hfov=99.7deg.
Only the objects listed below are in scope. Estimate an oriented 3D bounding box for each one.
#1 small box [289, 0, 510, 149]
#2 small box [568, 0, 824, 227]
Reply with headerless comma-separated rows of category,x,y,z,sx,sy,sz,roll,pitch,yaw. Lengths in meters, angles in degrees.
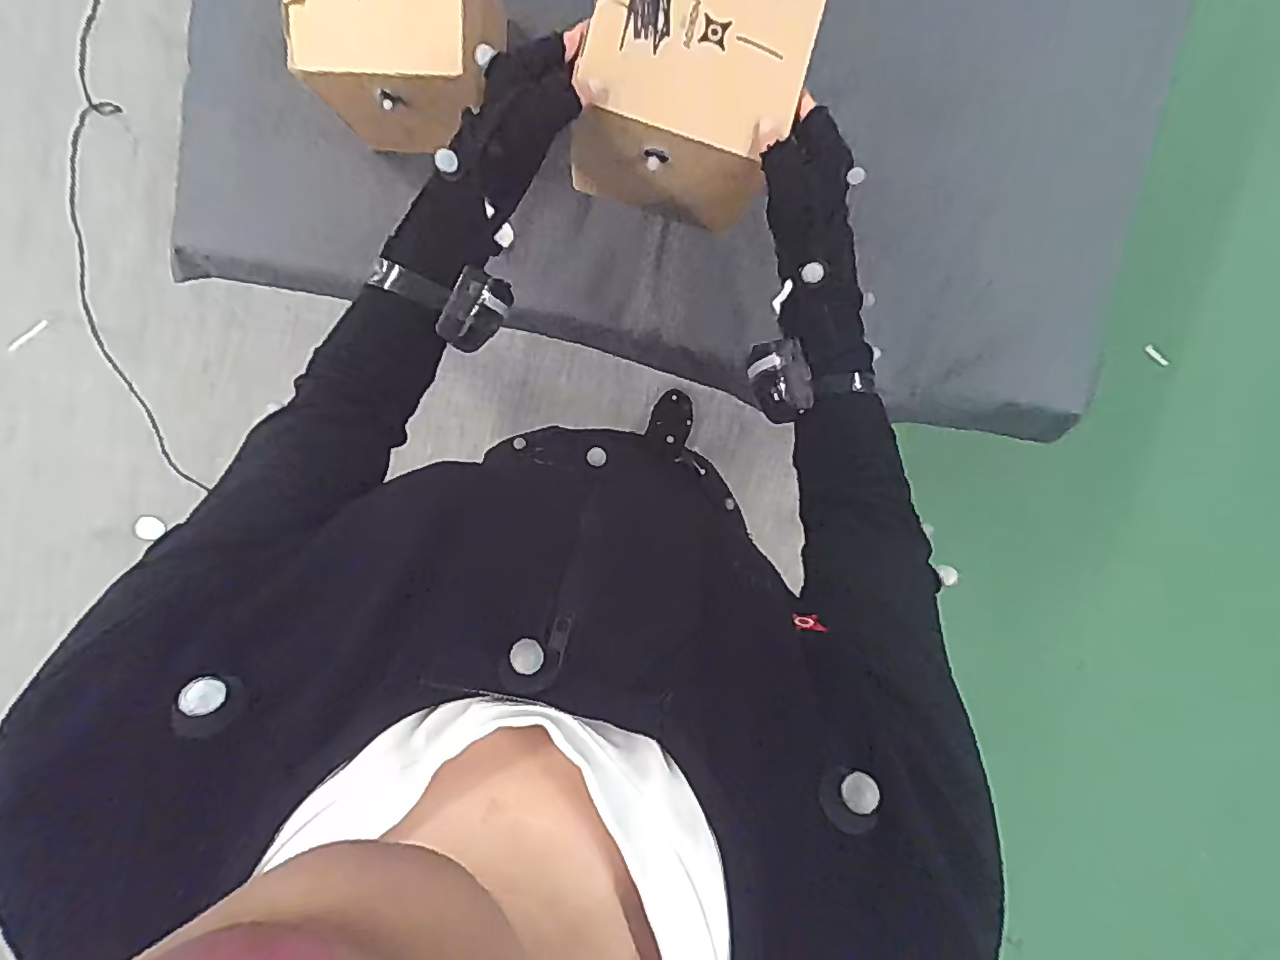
small box,-0.253,-0.493,0.601,0.179,0.176,0.168,2,98,0
small box,0.041,-0.358,0.494,0.179,0.176,0.168,14,96,-8
